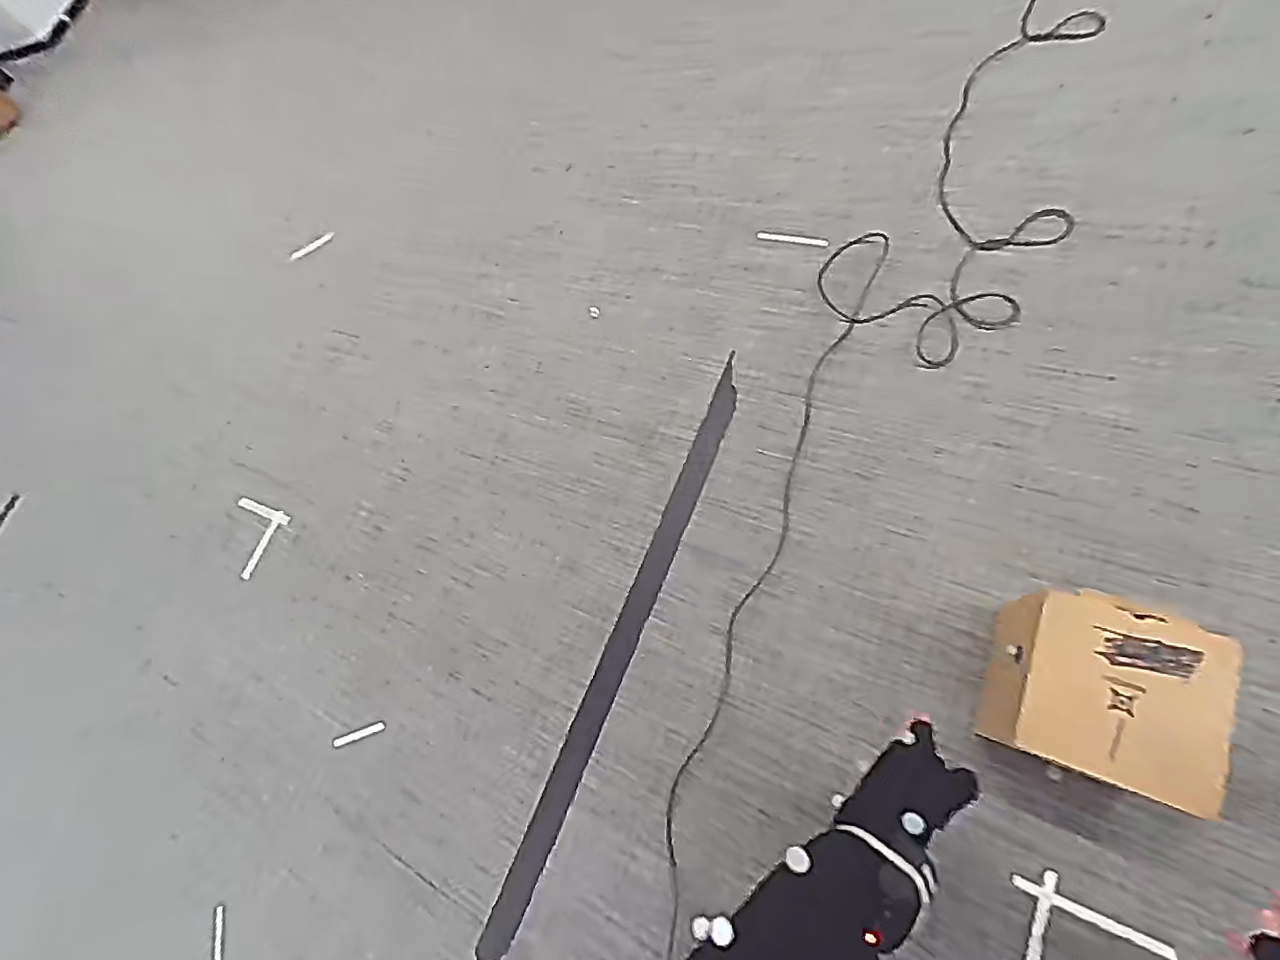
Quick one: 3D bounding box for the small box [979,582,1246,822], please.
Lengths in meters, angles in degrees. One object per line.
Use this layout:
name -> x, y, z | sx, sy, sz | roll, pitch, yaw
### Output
small box -> 0.509, 0.238, 0.609 | 0.168, 0.176, 0.179 | 17, 76, 23
